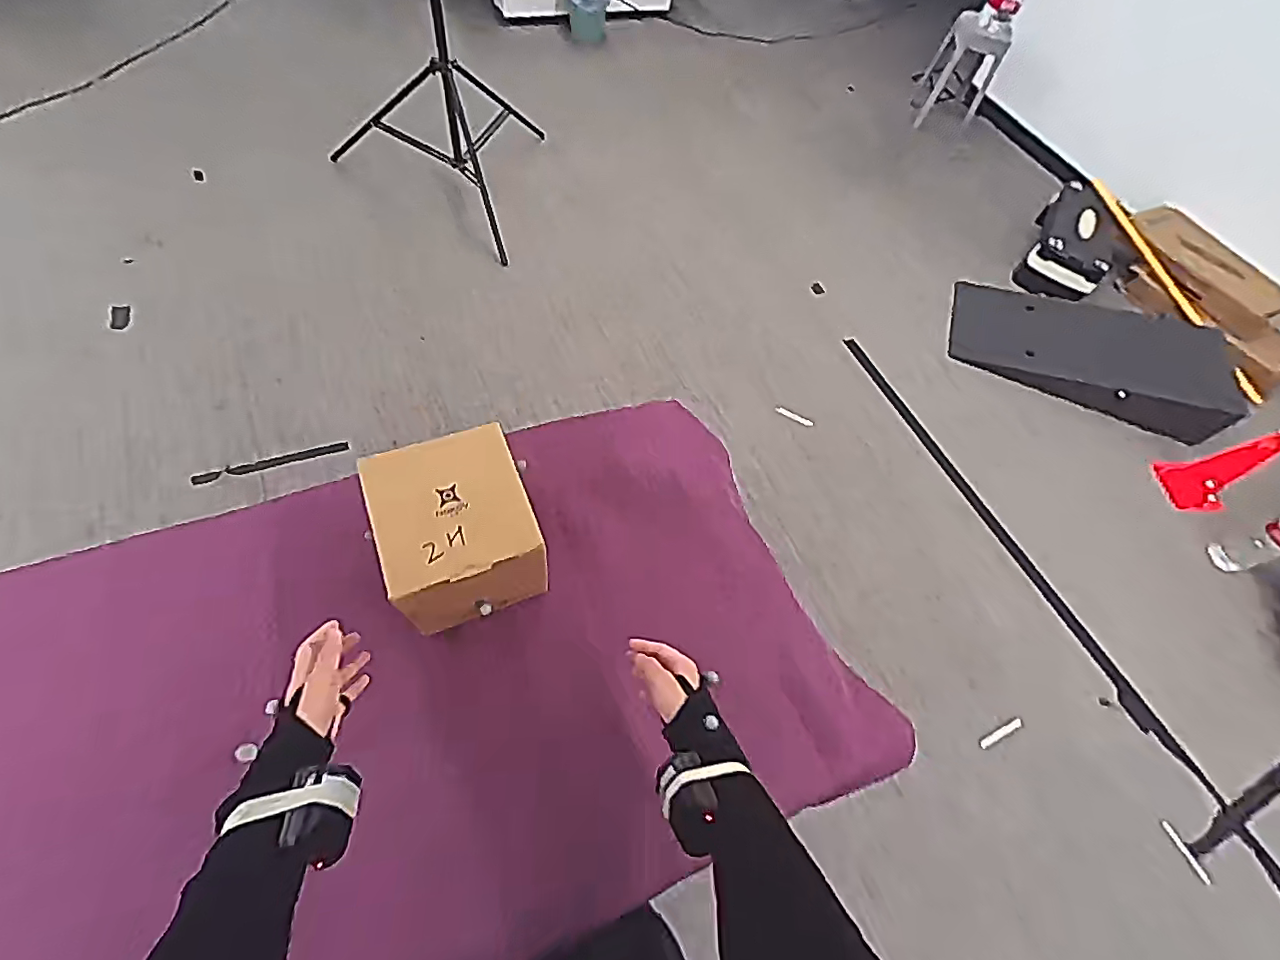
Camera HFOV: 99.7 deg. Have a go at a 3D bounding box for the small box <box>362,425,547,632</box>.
[{"bbox_3d":[-0.220,0.064,0.671,0.168,0.176,0.179,-18,66,-17],"label":"small box"}]
